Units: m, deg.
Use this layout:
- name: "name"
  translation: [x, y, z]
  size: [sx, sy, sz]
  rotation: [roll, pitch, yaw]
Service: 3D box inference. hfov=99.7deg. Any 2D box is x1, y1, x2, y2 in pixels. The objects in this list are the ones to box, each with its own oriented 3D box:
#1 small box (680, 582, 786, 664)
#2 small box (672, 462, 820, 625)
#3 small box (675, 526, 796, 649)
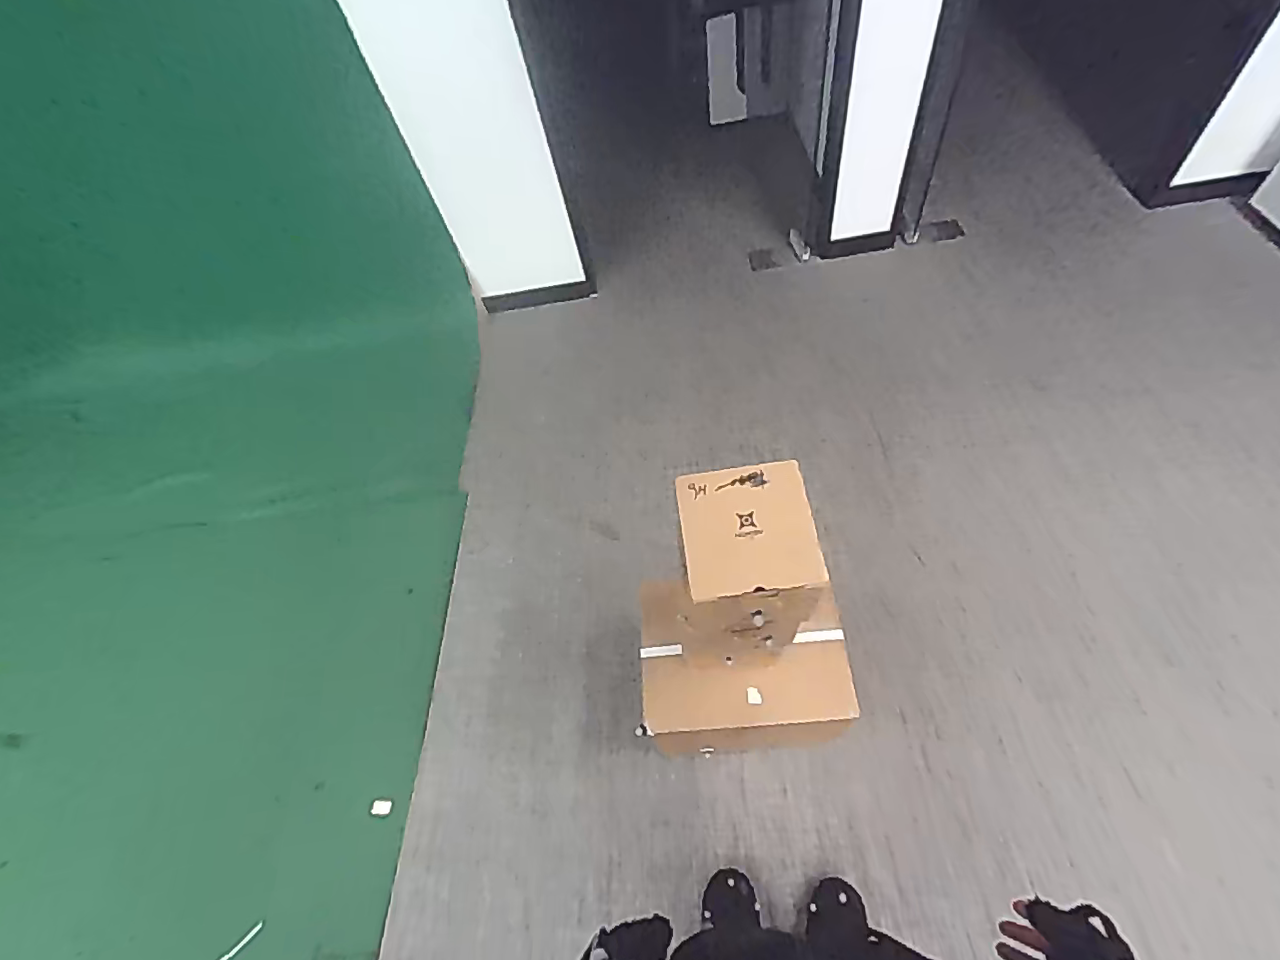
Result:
- name: "small box"
  translation: [0.174, 0.255, 1.044]
  size: [0.179, 0.176, 0.168]
  rotation: [-7, 62, 6]
- name: "small box"
  translation: [0.143, 0.098, 0.759]
  size: [0.168, 0.176, 0.179]
  rotation: [-9, 62, 5]
- name: "small box"
  translation: [0.155, 0.177, 0.903]
  size: [0.168, 0.176, 0.179]
  rotation: [-9, 60, 5]
